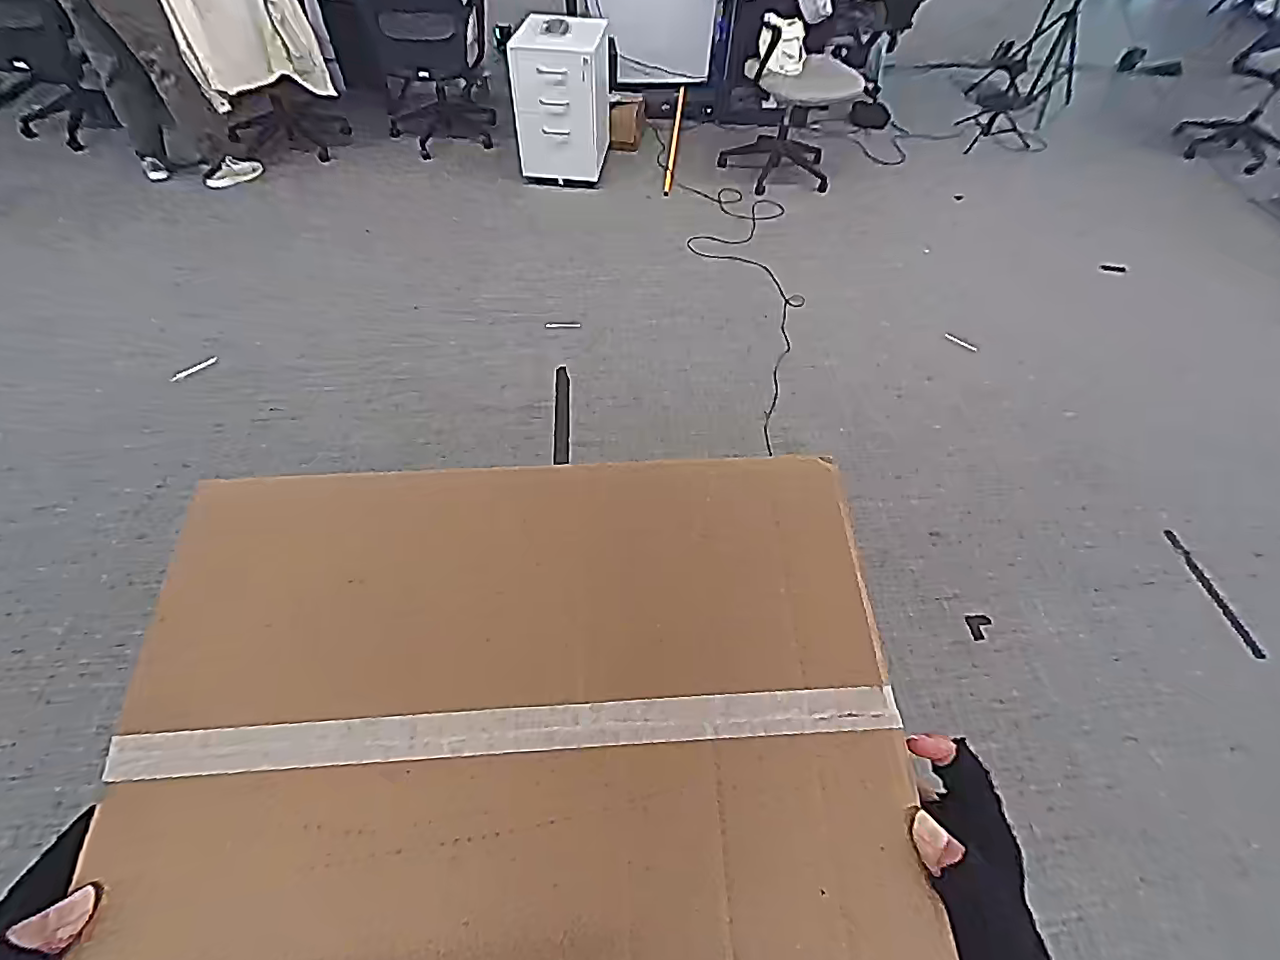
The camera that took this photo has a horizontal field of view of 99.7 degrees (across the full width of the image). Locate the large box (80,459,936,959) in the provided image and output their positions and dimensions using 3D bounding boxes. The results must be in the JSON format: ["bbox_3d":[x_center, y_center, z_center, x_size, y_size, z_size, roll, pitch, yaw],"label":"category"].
[{"bbox_3d":[-0.070,0.198,0.431,0.408,0.320,0.320,-2,65,-3],"label":"large box"}]
